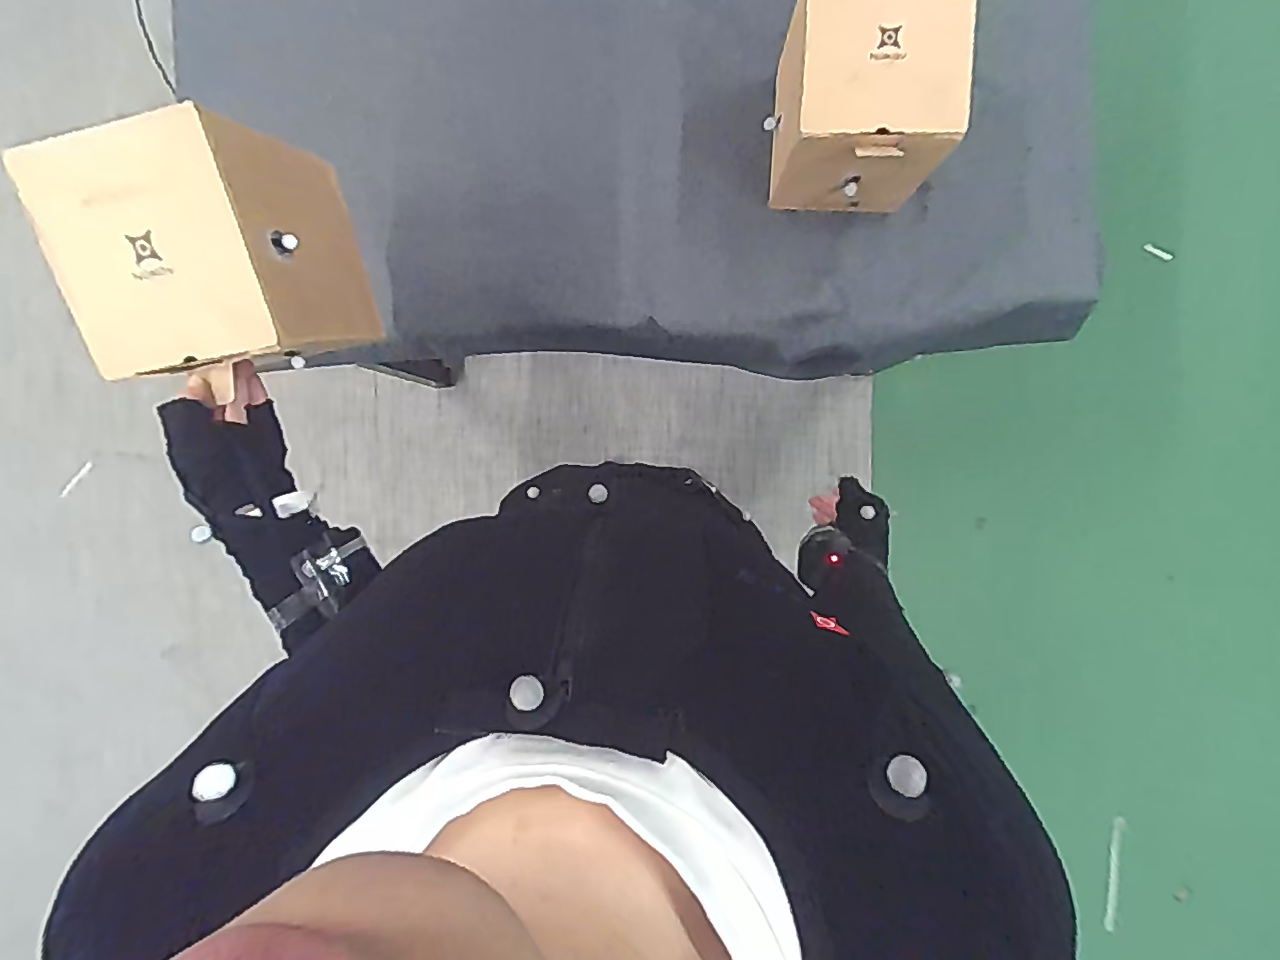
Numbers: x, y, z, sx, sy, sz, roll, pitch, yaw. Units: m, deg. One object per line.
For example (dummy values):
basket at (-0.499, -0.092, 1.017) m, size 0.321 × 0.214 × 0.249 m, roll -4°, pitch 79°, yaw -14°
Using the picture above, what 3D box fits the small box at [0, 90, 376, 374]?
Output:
small box at (-0.373, -0.204, 0.485) m, size 0.168 × 0.176 × 0.179 m, roll -9°, pitch 106°, yaw 6°

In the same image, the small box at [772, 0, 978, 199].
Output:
small box at (0.249, -0.439, 0.611) m, size 0.168 × 0.176 × 0.179 m, roll 3°, pitch 94°, yaw 3°
